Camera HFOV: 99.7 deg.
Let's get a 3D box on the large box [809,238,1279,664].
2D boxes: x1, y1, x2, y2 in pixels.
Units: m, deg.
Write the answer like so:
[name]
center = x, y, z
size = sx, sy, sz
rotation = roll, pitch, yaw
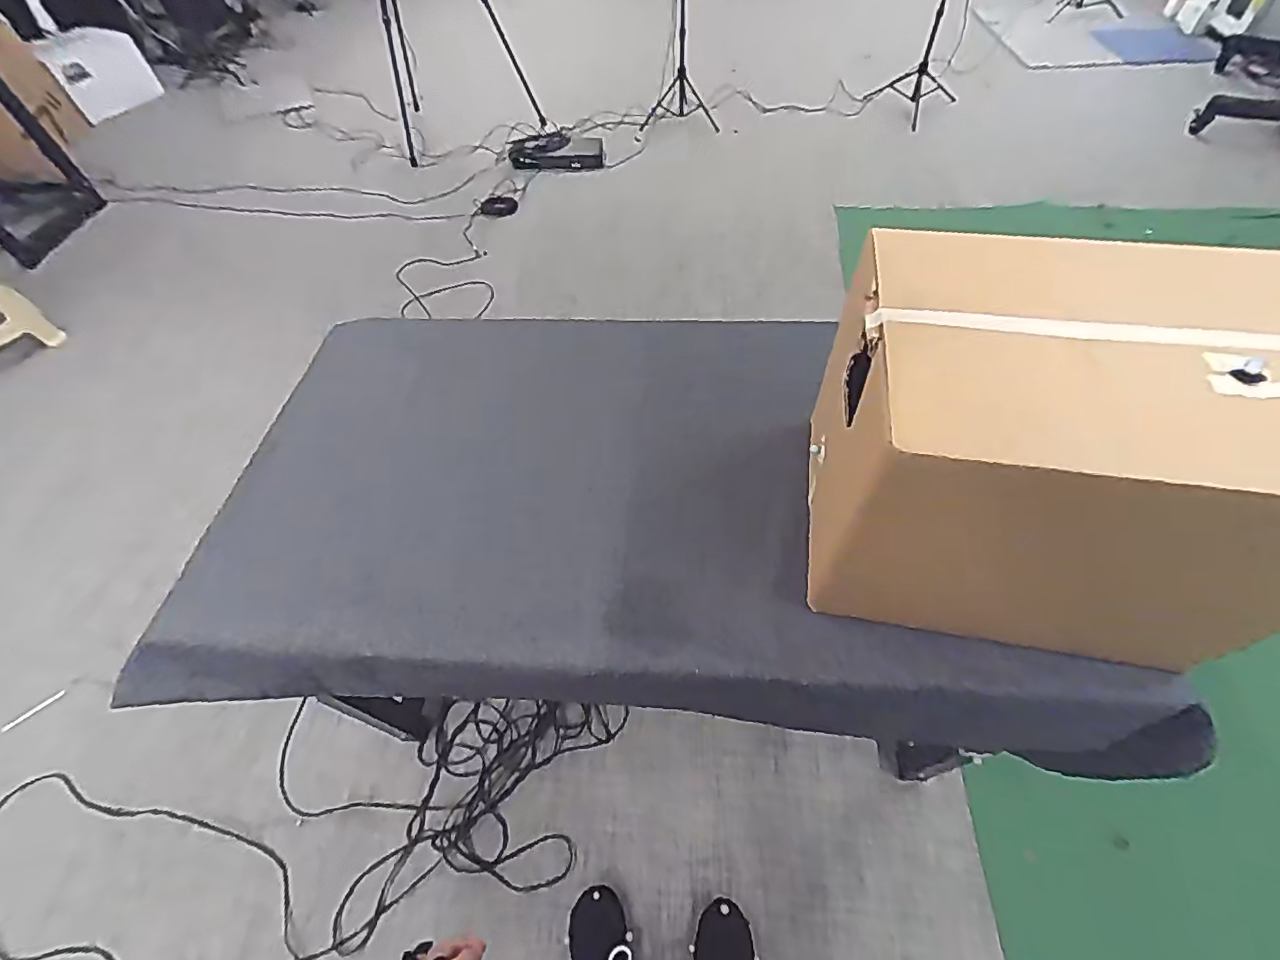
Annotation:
[large box]
center = 0.419, -0.028, 0.587
size = 0.408, 0.320, 0.320
rotation = 8, 55, 8
